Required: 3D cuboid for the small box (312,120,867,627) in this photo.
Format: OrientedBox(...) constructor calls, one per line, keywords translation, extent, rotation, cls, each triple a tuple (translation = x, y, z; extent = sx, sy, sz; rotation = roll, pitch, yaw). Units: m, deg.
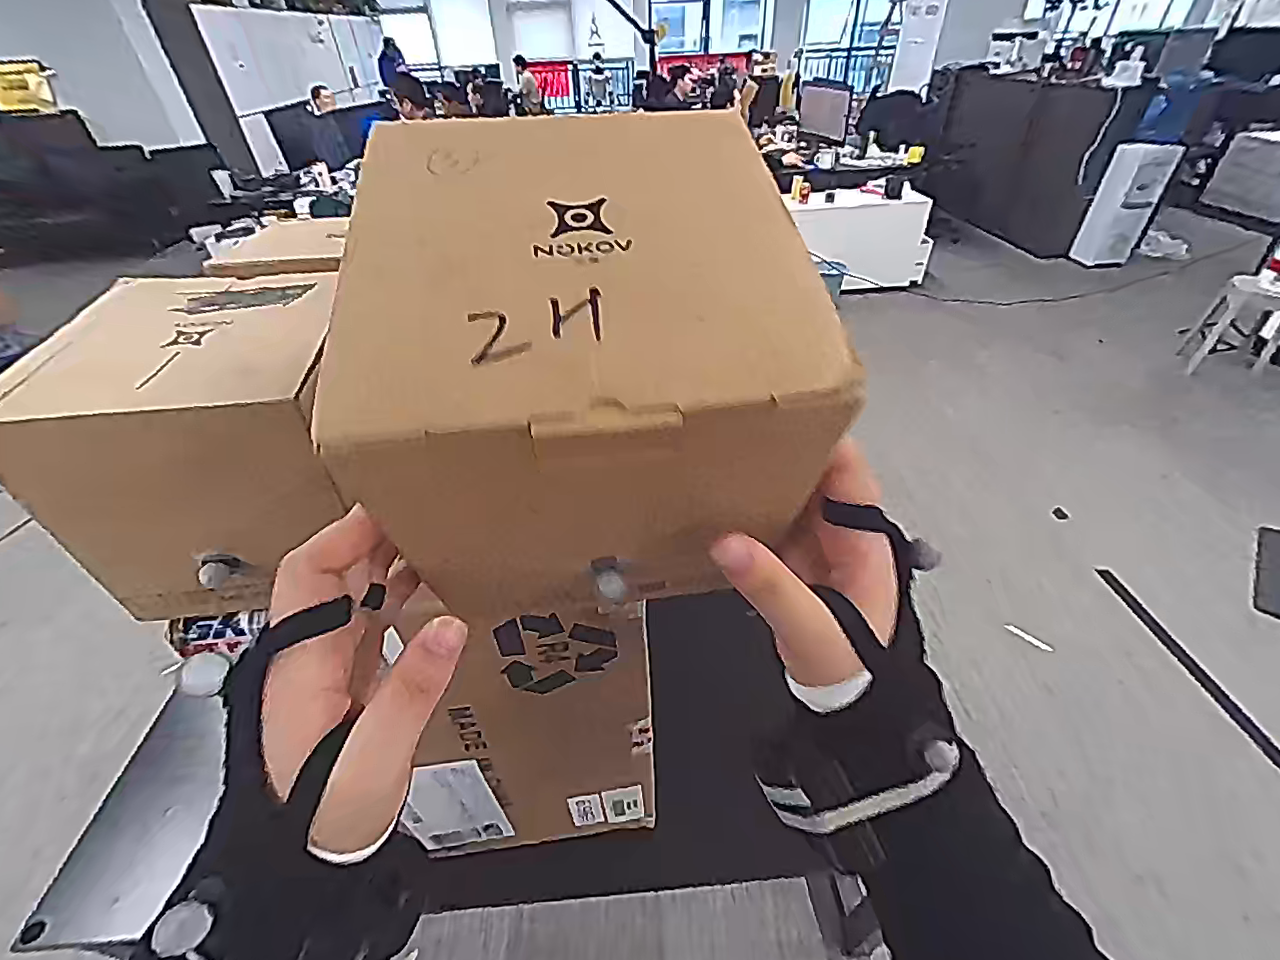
OrientedBox(translation=(-0.024, -0.045, 0.268), extent=(0.168, 0.176, 0.179), rotation=(-6, 59, -5), cls="small box")
